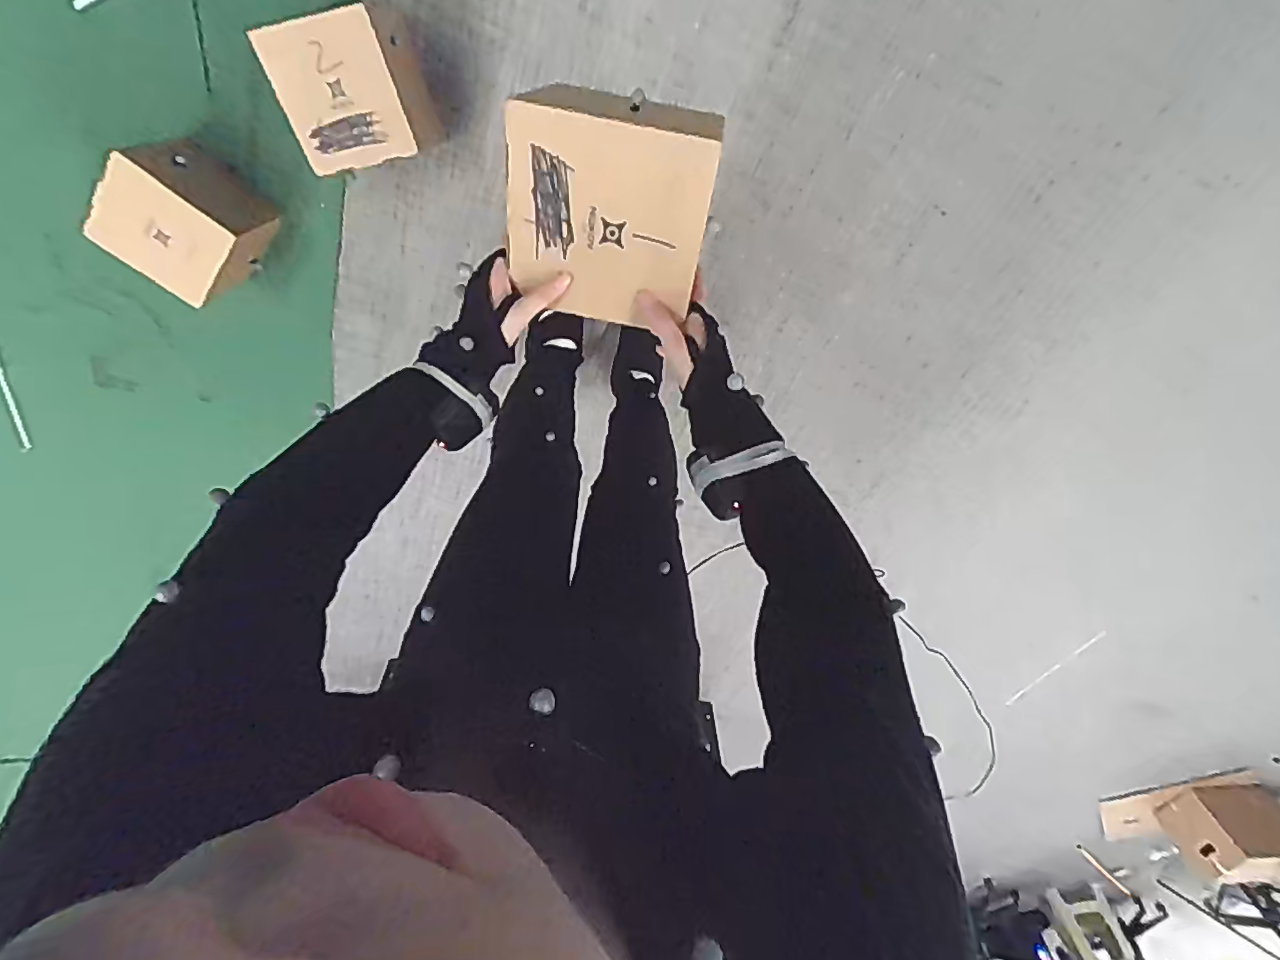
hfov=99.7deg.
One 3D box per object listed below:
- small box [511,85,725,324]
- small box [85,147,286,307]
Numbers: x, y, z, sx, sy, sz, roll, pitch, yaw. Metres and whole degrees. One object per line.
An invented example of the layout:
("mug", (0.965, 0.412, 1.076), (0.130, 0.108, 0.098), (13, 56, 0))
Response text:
("small box", (-0.019, -0.281, 0.541), (0.179, 0.176, 0.168), (11, 130, 0))
("small box", (-0.758, -0.434, 0.920), (0.168, 0.176, 0.179), (-39, 120, 23))
